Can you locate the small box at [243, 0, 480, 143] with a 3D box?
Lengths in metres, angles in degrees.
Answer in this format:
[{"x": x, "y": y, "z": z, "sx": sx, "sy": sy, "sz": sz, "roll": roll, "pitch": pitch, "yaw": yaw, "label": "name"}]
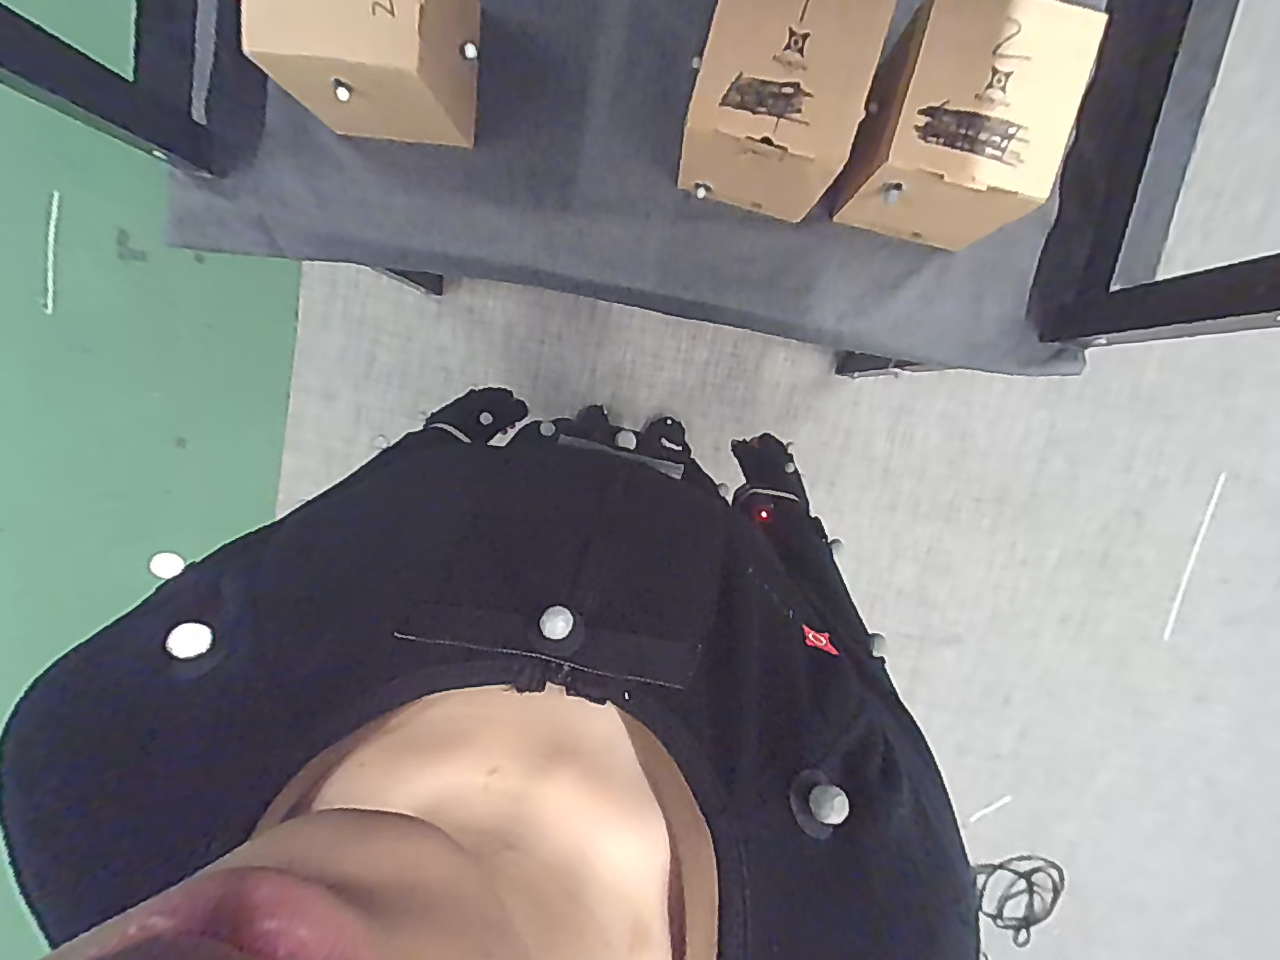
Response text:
[{"x": -0.293, "y": -0.501, "z": 0.597, "sx": 0.179, "sy": 0.176, "sz": 0.168, "roll": 6, "pitch": 99, "yaw": -1, "label": "small box"}]
